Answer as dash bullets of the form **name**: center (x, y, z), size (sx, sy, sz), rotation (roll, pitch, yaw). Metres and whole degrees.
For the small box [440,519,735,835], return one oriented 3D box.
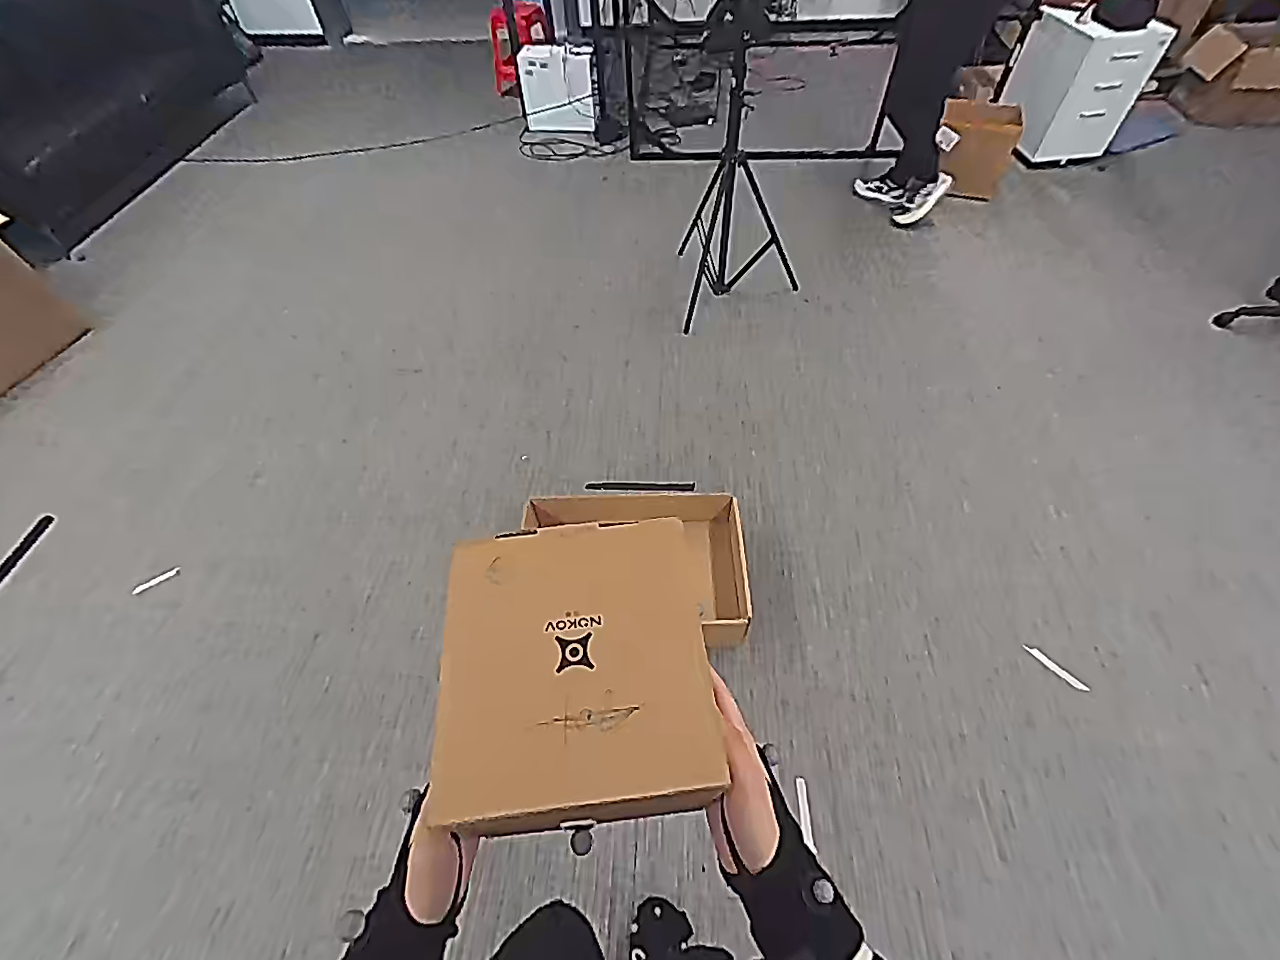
- **small box**: center (-0.038, 0.152, 0.409), size (0.168, 0.176, 0.179), rotation (-6, 56, -4)
